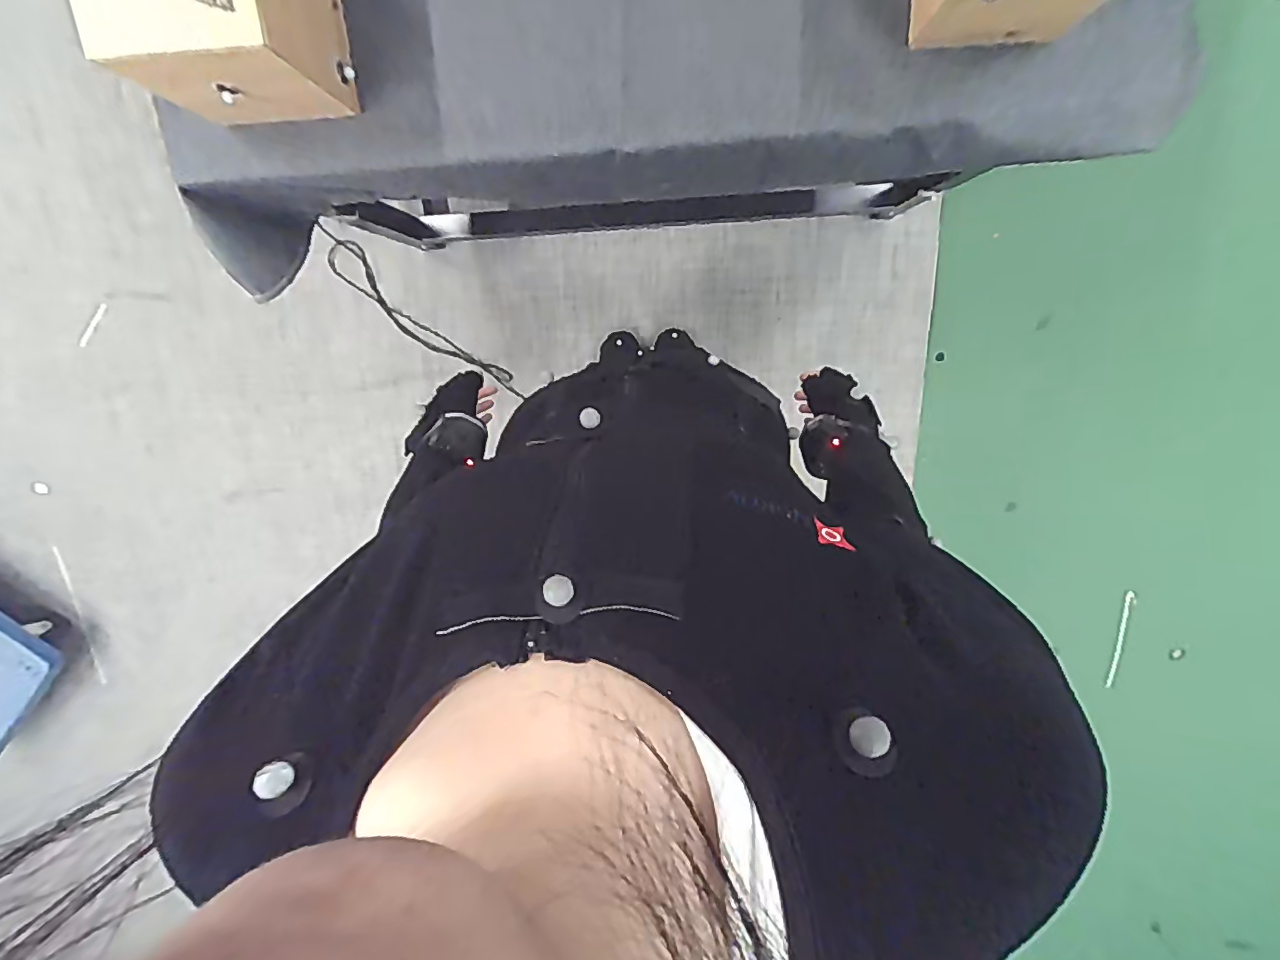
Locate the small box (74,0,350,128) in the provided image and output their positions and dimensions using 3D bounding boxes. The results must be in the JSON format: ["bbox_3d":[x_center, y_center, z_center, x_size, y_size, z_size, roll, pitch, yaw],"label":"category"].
[{"bbox_3d":[-0.428,-0.489,0.558,0.179,0.176,0.168,-3,105,2],"label":"small box"}]
